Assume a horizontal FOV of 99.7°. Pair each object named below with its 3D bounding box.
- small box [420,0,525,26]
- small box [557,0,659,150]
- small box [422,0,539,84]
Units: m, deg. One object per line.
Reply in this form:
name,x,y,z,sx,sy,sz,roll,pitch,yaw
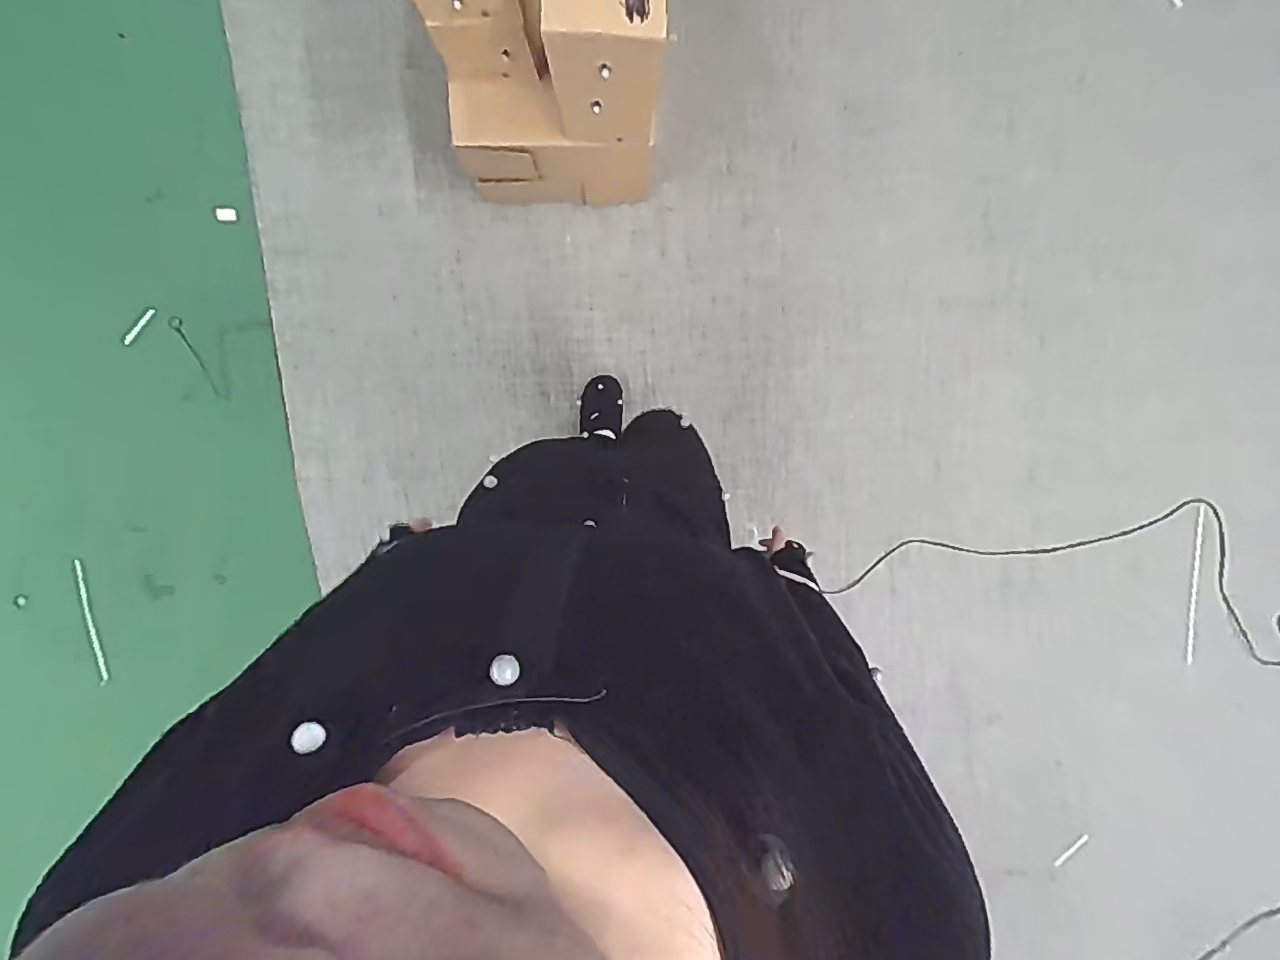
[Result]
small box,-0.268,-0.821,0.796,0.168,0.176,0.179,0,100,-1
small box,-0.057,-0.733,0.975,0.168,0.176,0.179,1,97,-1
small box,-0.276,-0.840,0.959,0.168,0.176,0.179,0,97,-1
